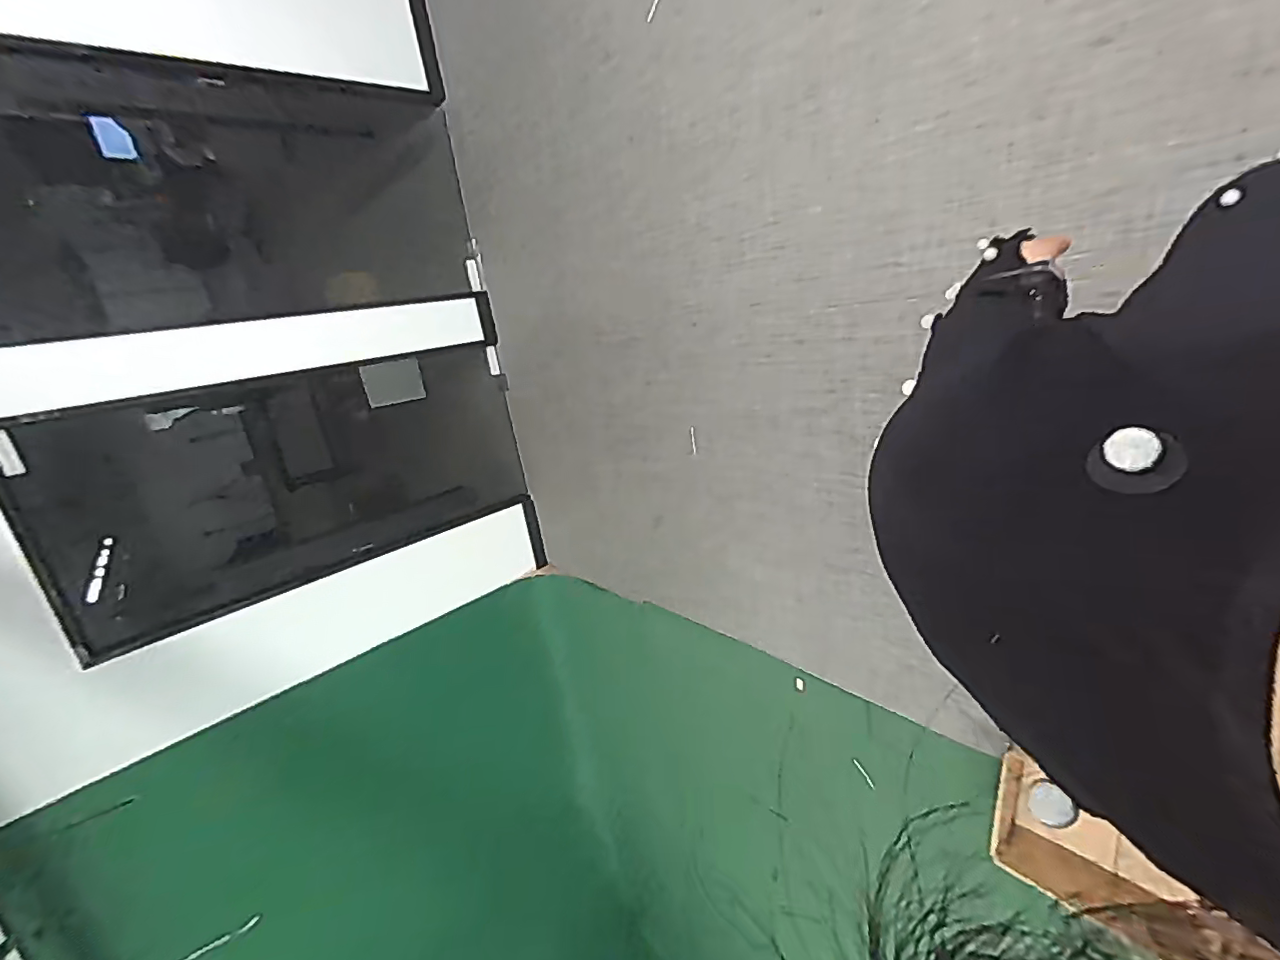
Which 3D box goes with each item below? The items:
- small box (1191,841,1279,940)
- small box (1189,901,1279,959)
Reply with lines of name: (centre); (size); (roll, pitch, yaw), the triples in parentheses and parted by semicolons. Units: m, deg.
small box: (1.293, 0.908, 1.120); (0.179, 0.176, 0.168); (15, 117, 48)
small box: (1.170, 0.952, 1.019); (0.179, 0.176, 0.168); (15, 118, 46)
